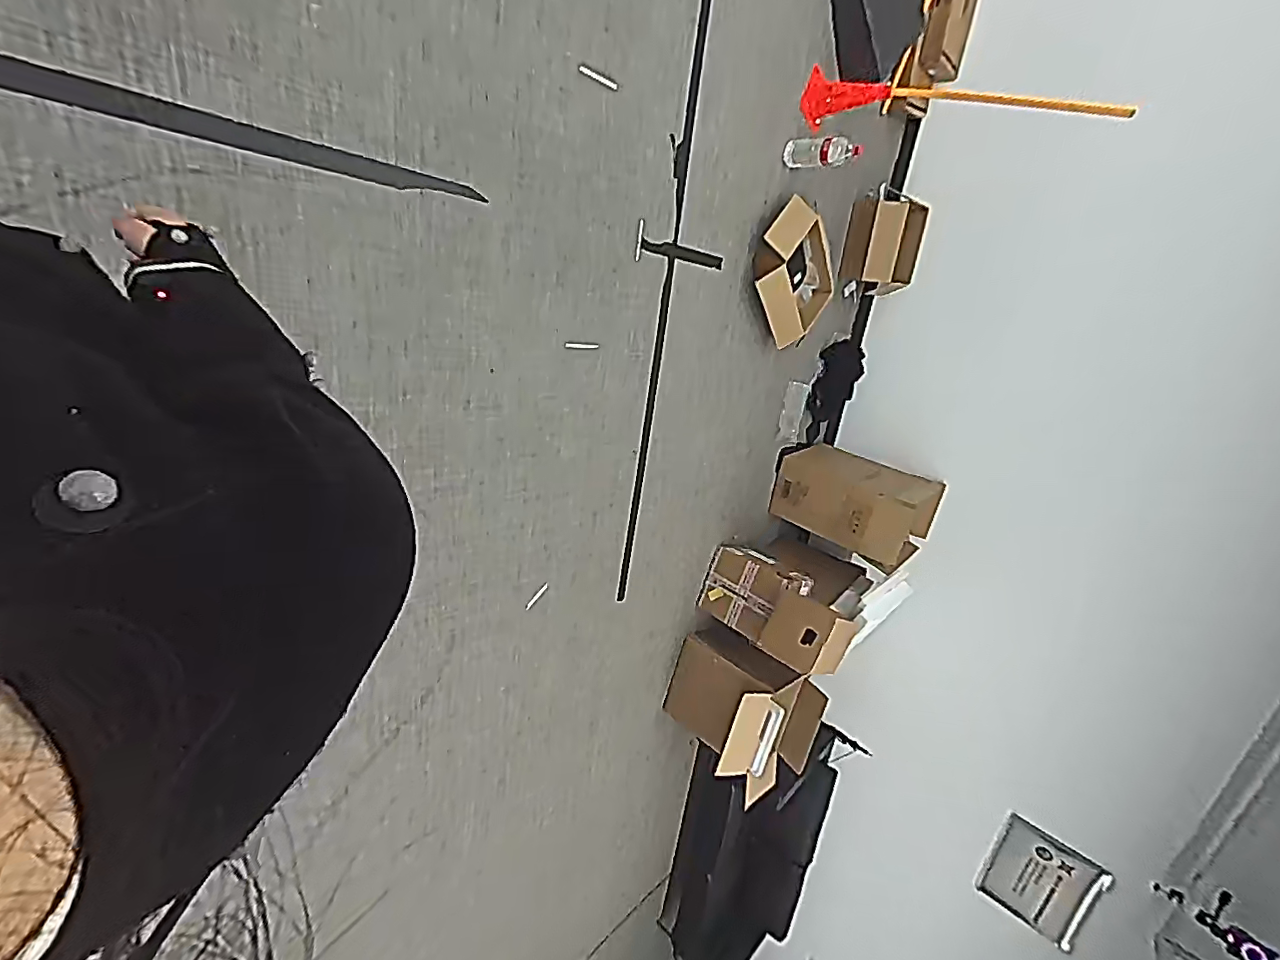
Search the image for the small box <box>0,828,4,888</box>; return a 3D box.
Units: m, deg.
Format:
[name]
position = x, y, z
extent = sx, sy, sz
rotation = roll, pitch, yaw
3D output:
[small box]
position = -1.382, 0.734, 1.039
extent = 0.168, 0.176, 0.179
rotation = -26, 127, -42
